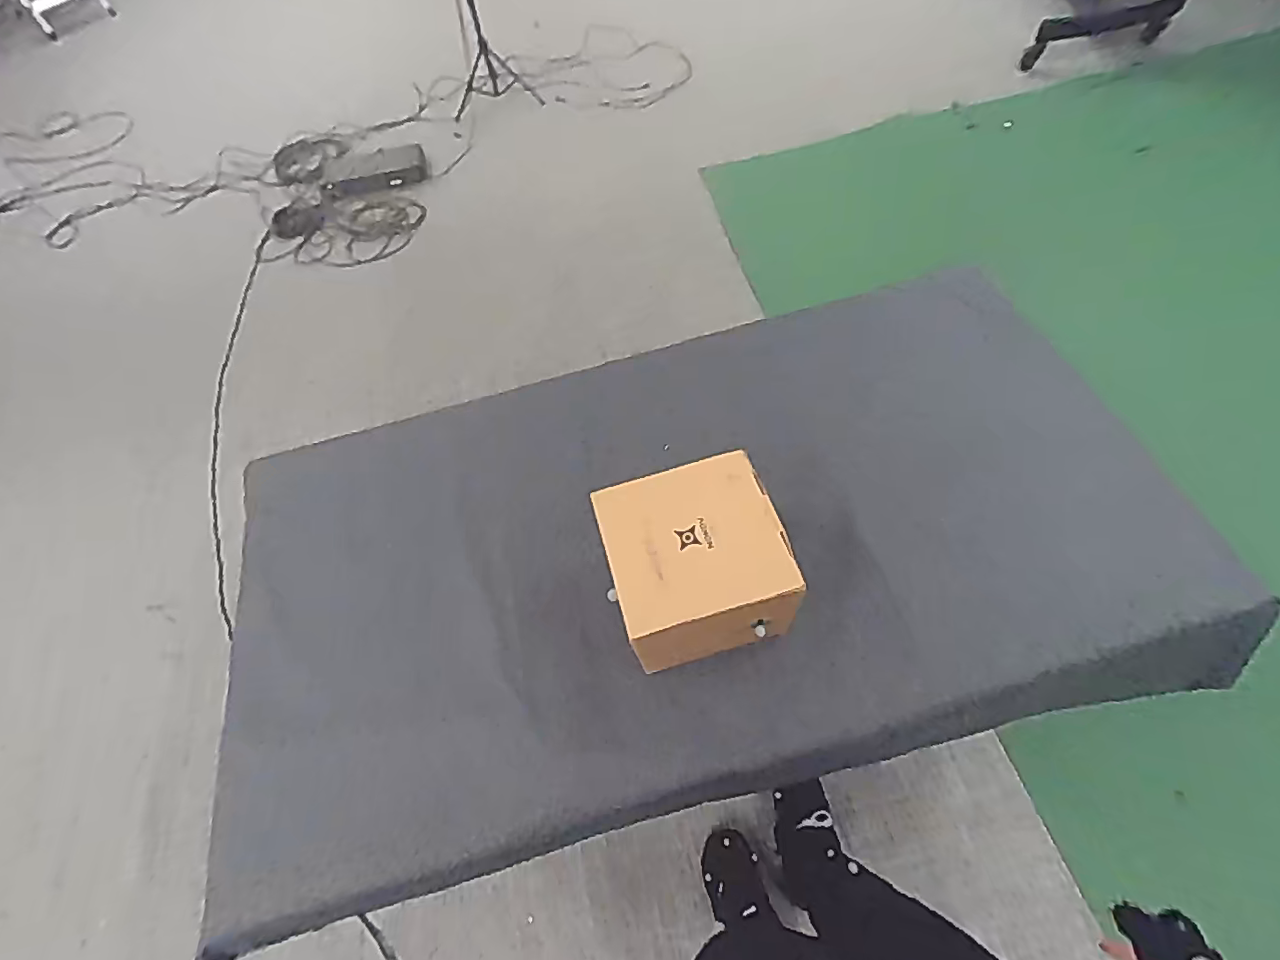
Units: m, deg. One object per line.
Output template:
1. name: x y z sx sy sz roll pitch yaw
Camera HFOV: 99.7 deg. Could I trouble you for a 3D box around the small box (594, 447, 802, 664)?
1. small box: 0.061 0.093 0.621 0.179 0.176 0.168 -18 59 -2
